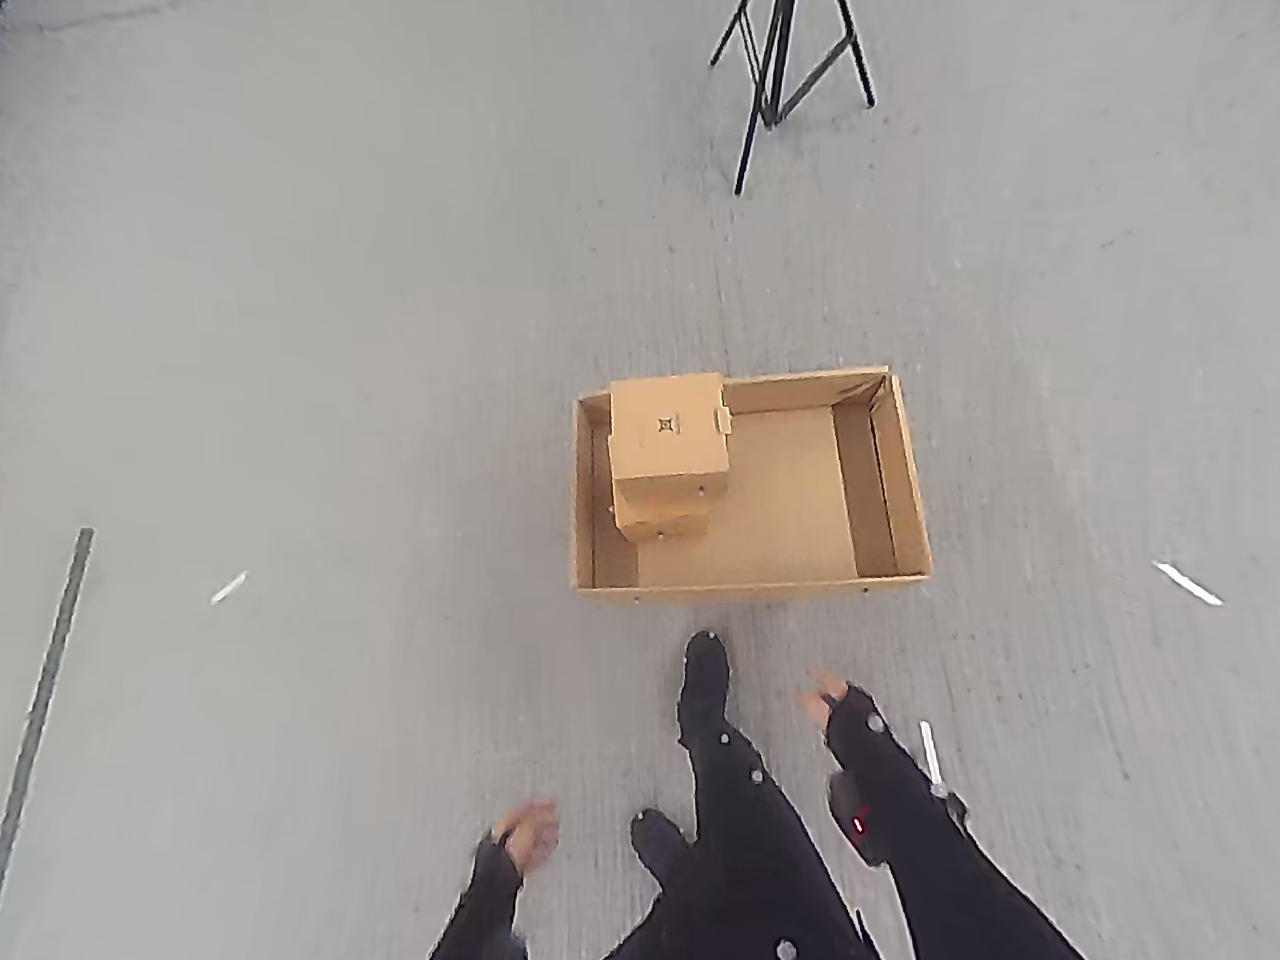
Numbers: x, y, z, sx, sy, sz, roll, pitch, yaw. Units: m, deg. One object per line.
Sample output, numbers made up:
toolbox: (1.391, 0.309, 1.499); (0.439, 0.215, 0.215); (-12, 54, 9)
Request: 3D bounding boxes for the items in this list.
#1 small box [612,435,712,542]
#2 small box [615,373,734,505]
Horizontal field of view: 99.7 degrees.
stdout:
small box: (0.044, 0.012, 1.048); (0.168, 0.176, 0.179); (-8, 72, 5)
small box: (0.056, -0.060, 0.896); (0.179, 0.176, 0.168); (-4, 72, 5)
